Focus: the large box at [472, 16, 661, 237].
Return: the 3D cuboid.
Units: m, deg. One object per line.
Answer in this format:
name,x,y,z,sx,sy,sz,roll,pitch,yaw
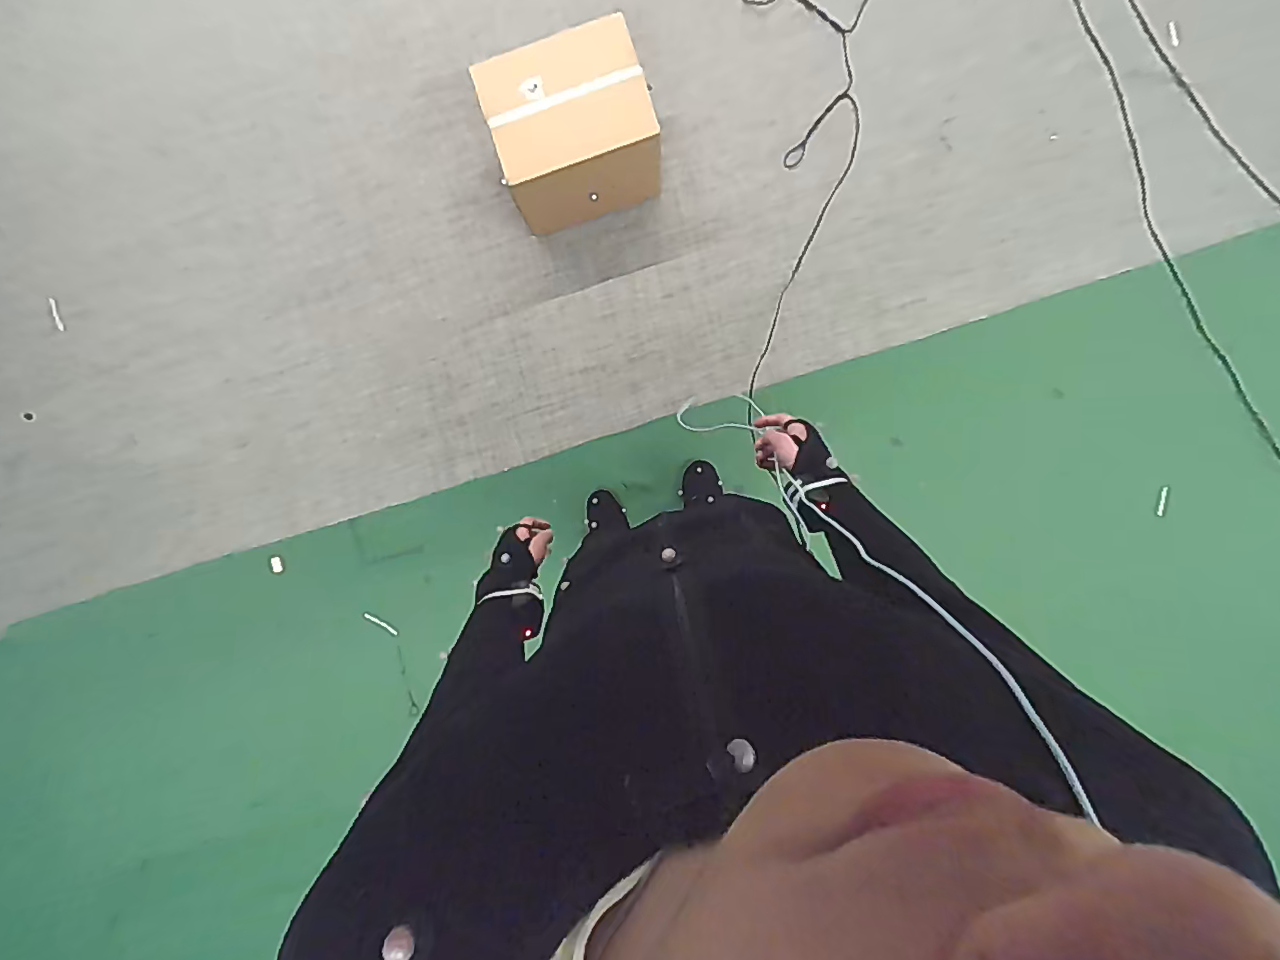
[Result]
large box,-0.180,-0.940,1.491,0.408,0.320,0.320,-19,90,3
